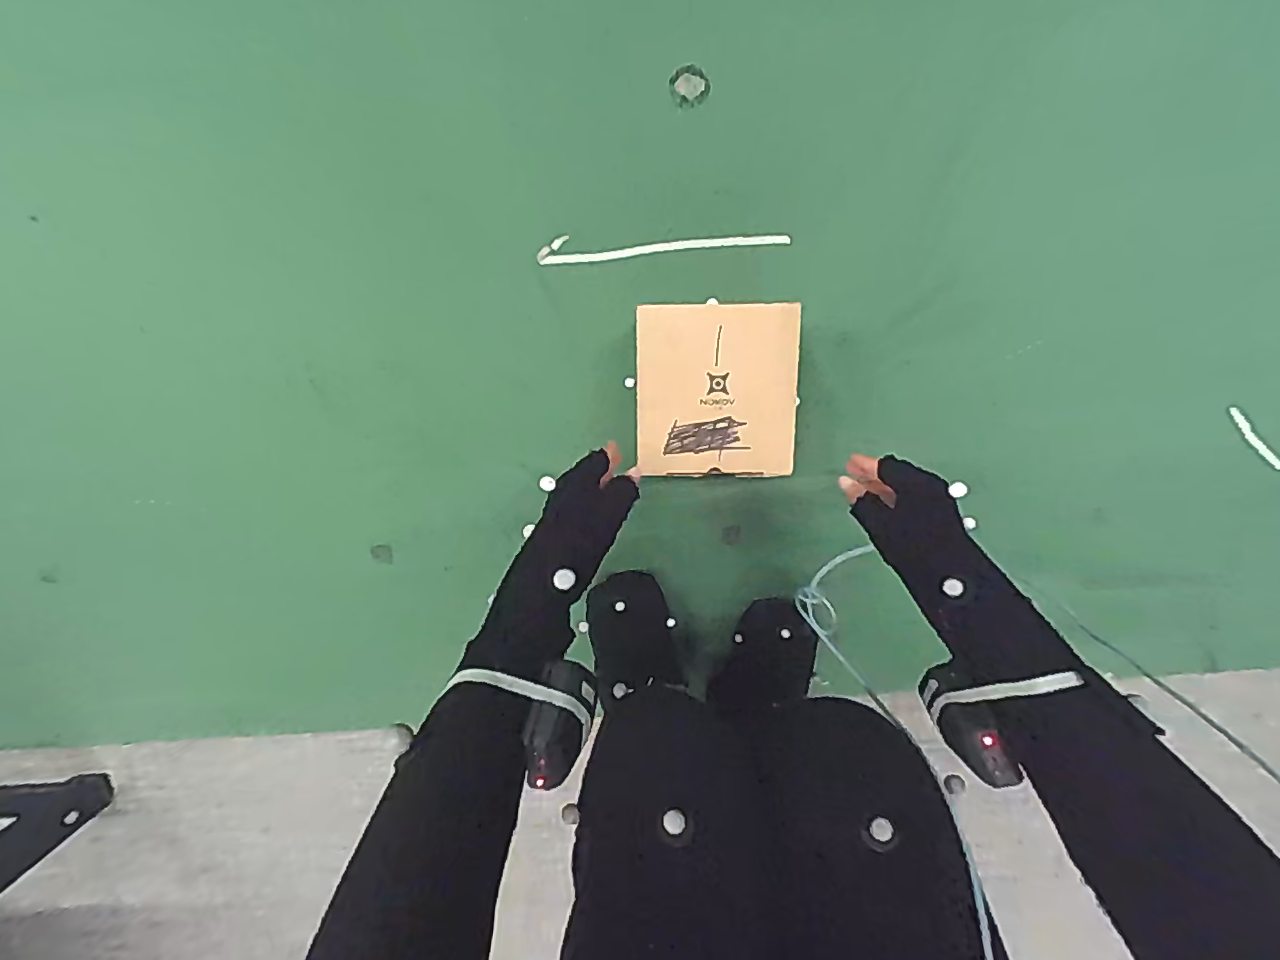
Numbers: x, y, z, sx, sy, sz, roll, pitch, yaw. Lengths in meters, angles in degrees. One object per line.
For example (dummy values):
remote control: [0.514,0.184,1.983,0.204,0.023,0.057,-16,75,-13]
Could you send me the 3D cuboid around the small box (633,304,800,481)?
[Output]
small box: [0.081,-0.105,0.629,0.168,0.176,0.179,-3,103,1]
